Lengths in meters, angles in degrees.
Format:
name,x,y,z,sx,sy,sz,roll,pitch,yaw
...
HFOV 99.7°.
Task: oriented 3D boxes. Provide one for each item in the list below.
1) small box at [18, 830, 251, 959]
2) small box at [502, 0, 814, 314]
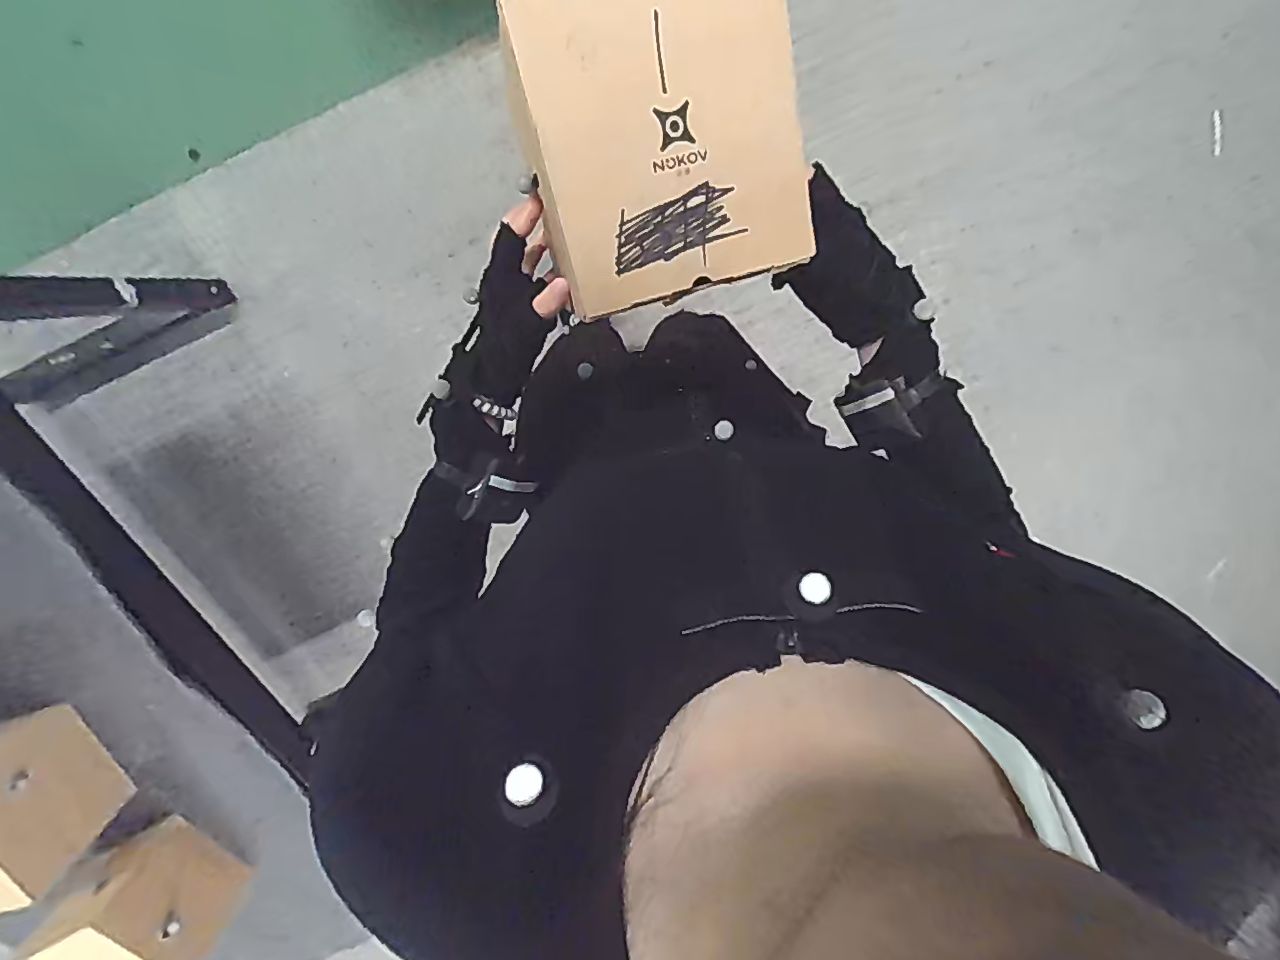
name,x,y,z,sx,sy,sz,roll,pitch,yaw
small box,-0.738,0.659,0.796,0.168,0.176,0.179,-30,110,4
small box,0.007,-0.234,0.401,0.168,0.176,0.179,-17,111,-6
